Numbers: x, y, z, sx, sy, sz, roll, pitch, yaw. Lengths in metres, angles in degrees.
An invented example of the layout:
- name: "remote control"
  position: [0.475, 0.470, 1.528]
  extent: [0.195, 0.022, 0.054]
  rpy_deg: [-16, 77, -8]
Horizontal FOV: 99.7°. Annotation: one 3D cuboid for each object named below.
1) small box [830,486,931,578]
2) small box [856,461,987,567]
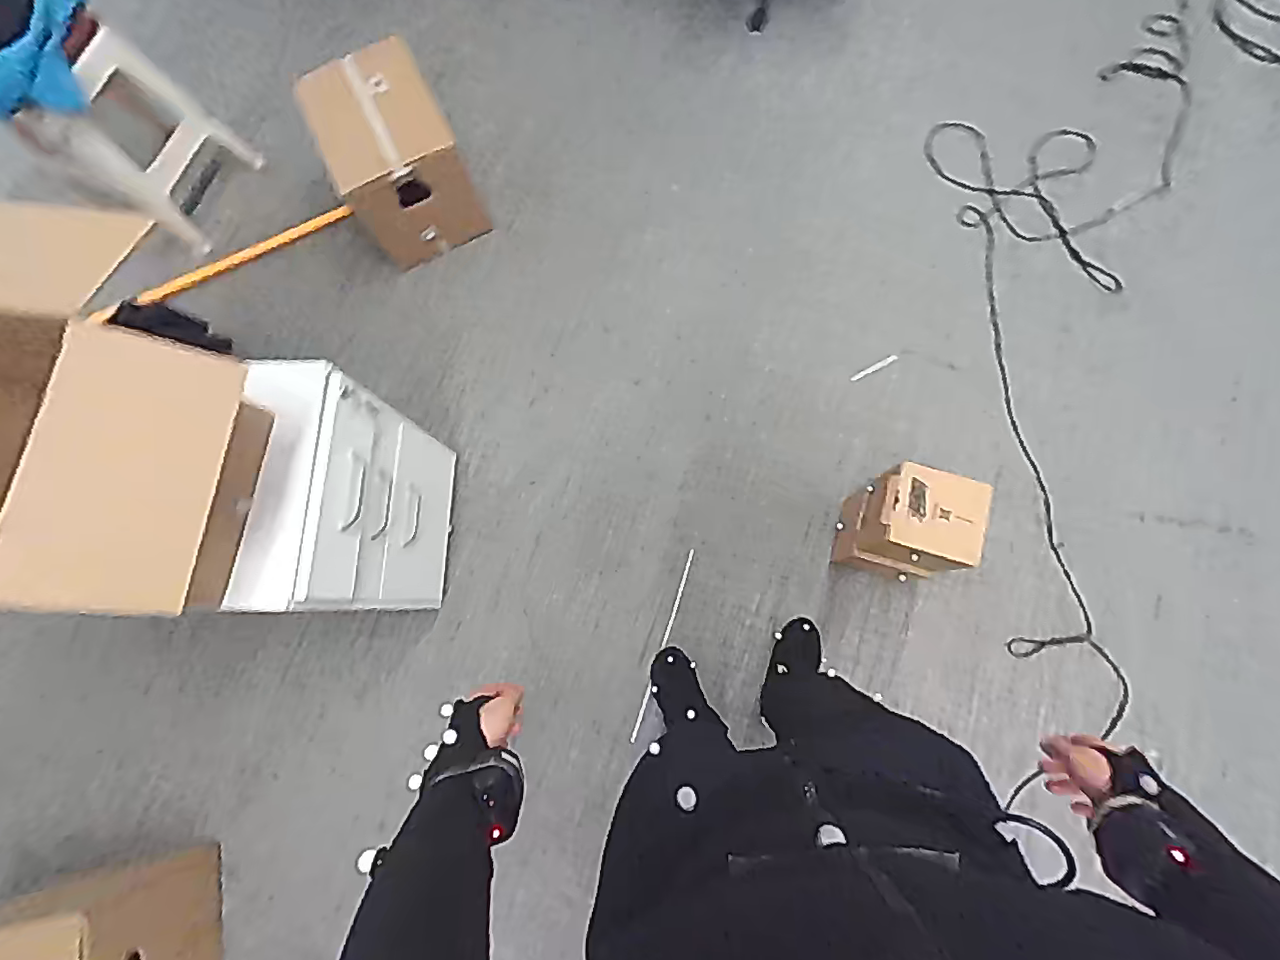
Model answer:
- name: "small box"
  position: [0.570, 0.129, 1.273]
  extent: [0.179, 0.176, 0.168]
  rpy_deg: [15, 78, 7]
- name: "small box"
  position: [0.570, 0.079, 1.116]
  extent: [0.179, 0.176, 0.168]
  rpy_deg: [16, 79, 6]
